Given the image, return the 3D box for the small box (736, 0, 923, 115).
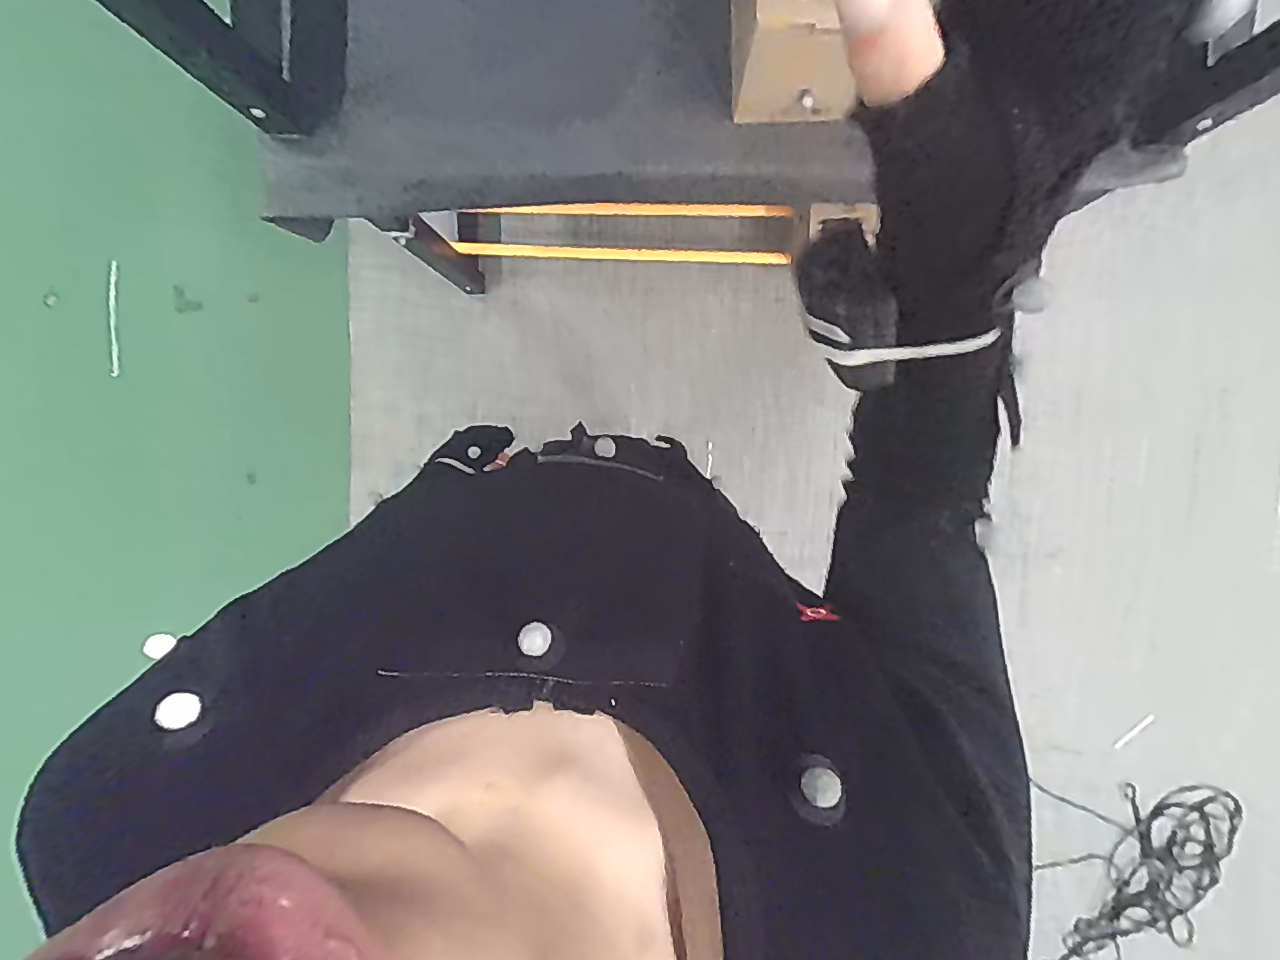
[{"bbox_3d":[0.204,-0.561,0.621,0.168,0.176,0.179,-1,94,2],"label":"small box"}]
